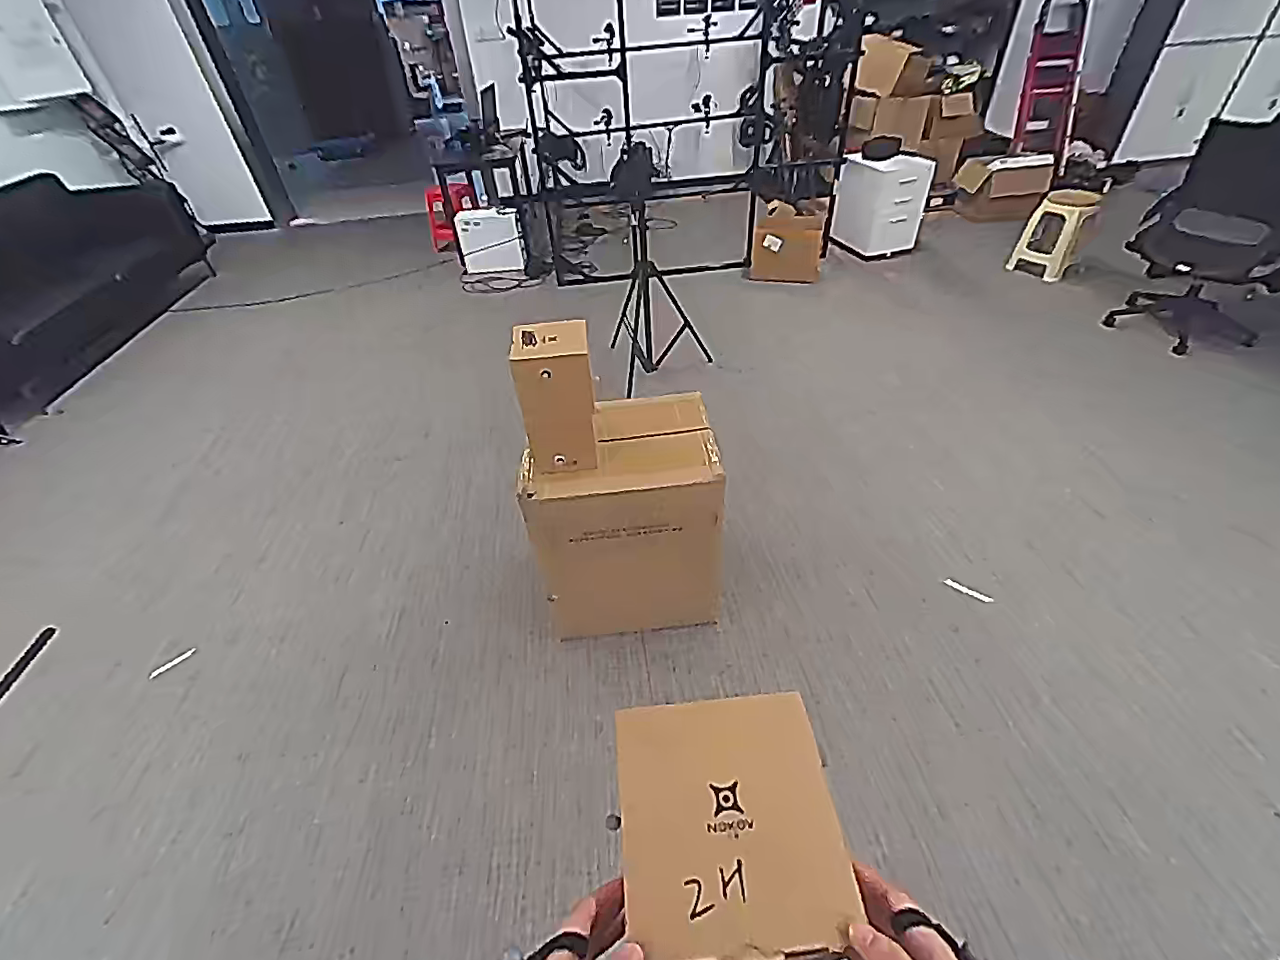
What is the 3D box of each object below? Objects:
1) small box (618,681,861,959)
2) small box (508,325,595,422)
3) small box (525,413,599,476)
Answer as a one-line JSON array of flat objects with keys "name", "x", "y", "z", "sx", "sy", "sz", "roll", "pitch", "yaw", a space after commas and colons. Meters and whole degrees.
[{"name": "small box", "x": 0.070, "y": 0.307, "z": 0.484, "sx": 0.168, "sy": 0.176, "sz": 0.179, "roll": -6, "pitch": 44, "yaw": -1}, {"name": "small box", "x": -0.206, "y": -0.252, "z": 1.297, "sx": 0.179, "sy": 0.176, "sz": 0.168, "roll": -6, "pitch": 43, "yaw": -3}, {"name": "small box", "x": -0.198, "y": -0.132, "z": 1.410, "sx": 0.168, "sy": 0.176, "sz": 0.179, "roll": -7, "pitch": 44, "yaw": -1}]
